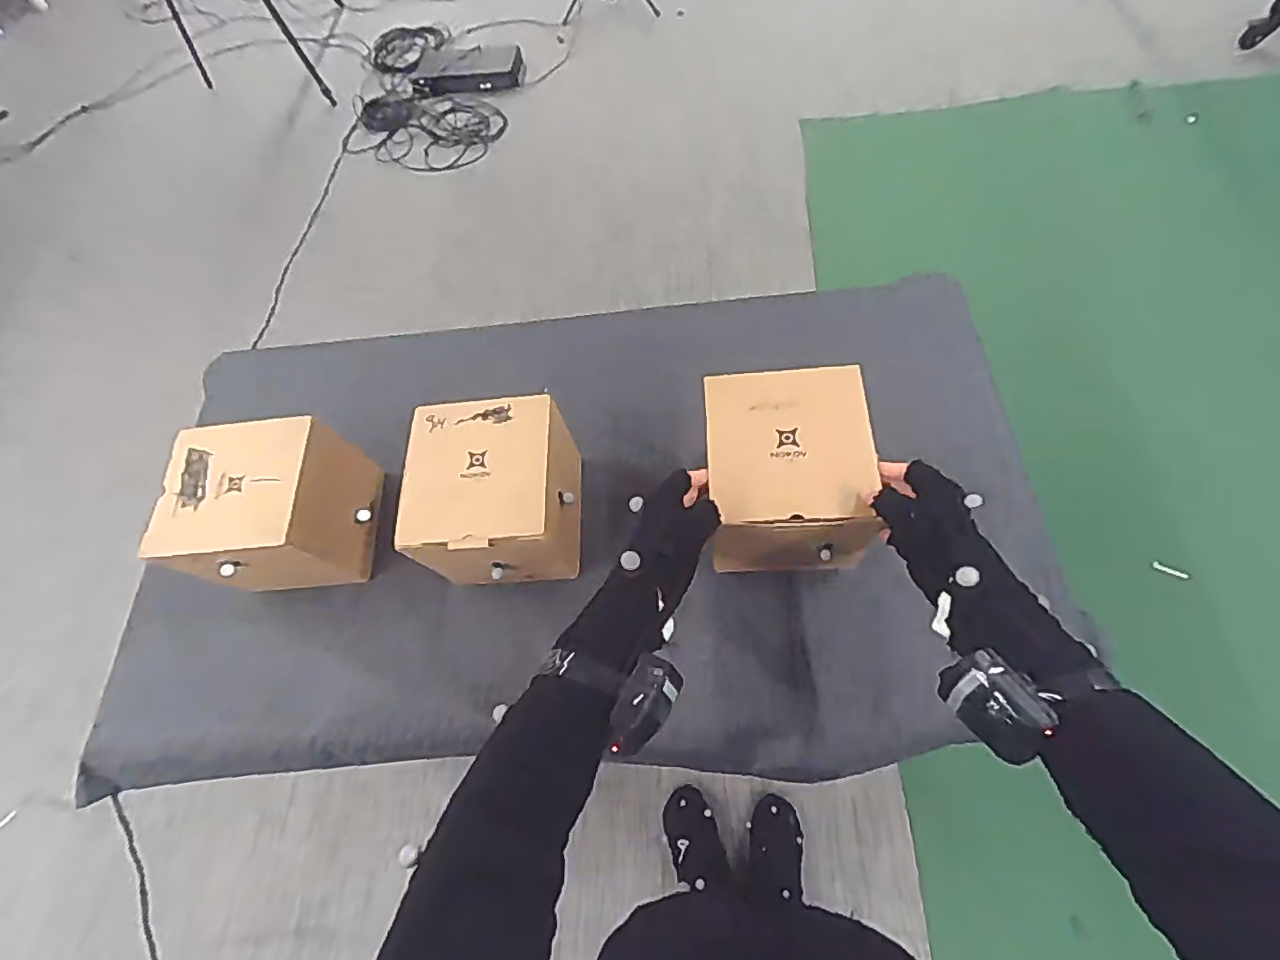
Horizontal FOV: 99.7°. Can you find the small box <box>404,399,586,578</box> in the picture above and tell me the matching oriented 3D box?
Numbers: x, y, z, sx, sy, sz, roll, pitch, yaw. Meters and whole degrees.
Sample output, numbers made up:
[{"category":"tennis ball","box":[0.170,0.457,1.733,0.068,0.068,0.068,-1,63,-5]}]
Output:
[{"category":"small box","box":[-0.164,0.022,0.674,0.168,0.176,0.179,-4,66,6]}]

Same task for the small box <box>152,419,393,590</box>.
[{"category":"small box","box":[-0.455,0.040,0.702,0.179,0.176,0.168,-6,66,4]}]

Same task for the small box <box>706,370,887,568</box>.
[{"category":"small box","box":[0.166,-0.001,0.624,0.168,0.176,0.179,-3,64,7]}]
